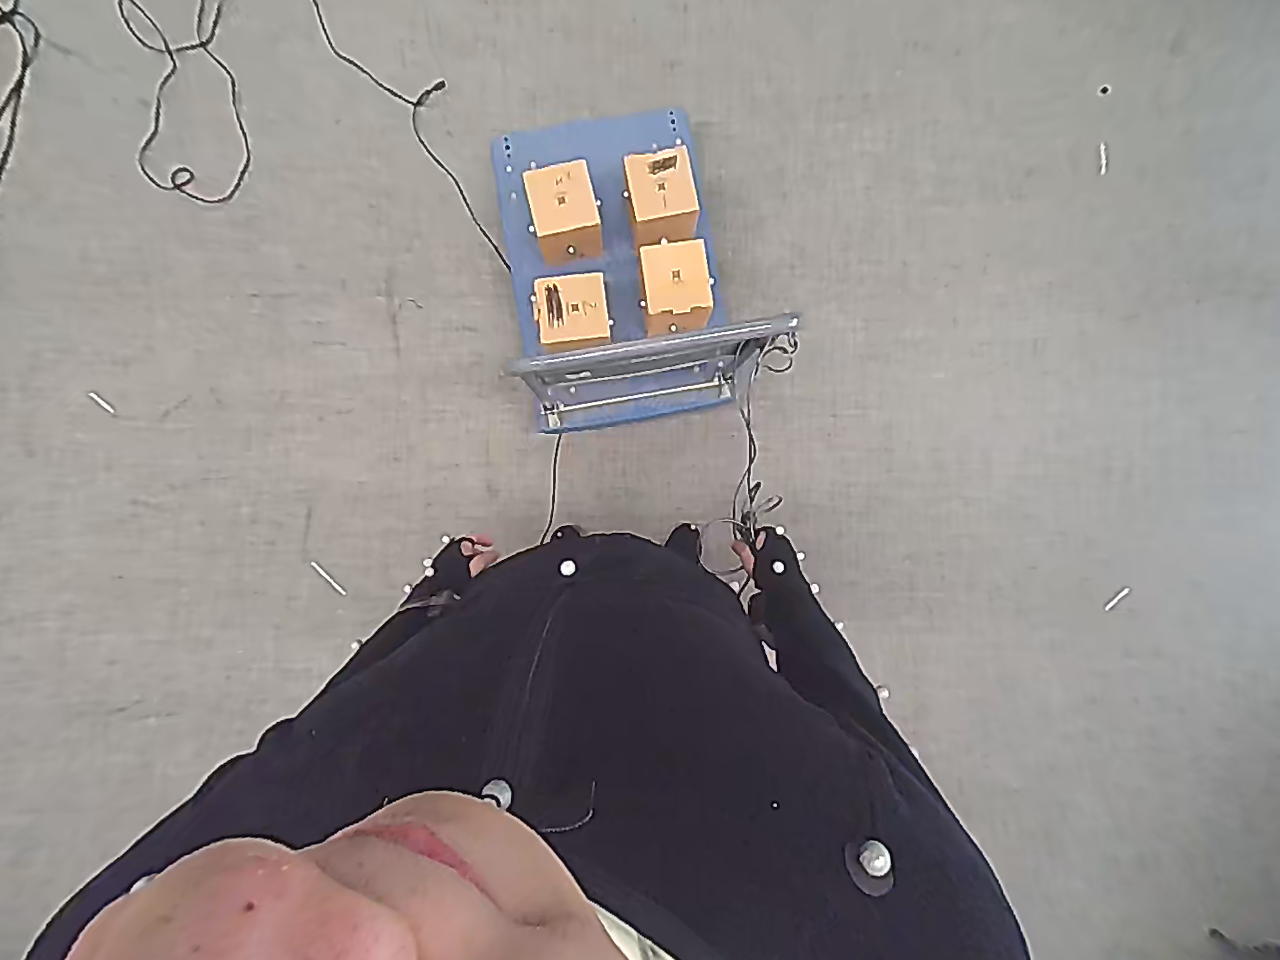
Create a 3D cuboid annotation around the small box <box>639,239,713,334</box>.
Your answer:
[{"bbox_3d":[0.089,-0.505,1.430,0.168,0.176,0.179,-8,88,-2],"label":"small box"}]

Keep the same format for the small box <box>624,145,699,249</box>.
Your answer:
[{"bbox_3d":[0.052,-0.744,1.440,0.168,0.176,0.179,-12,88,-1],"label":"small box"}]

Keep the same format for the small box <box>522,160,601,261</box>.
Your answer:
[{"bbox_3d":[-0.200,-0.702,1.434,0.168,0.176,0.179,-13,87,-2],"label":"small box"}]
